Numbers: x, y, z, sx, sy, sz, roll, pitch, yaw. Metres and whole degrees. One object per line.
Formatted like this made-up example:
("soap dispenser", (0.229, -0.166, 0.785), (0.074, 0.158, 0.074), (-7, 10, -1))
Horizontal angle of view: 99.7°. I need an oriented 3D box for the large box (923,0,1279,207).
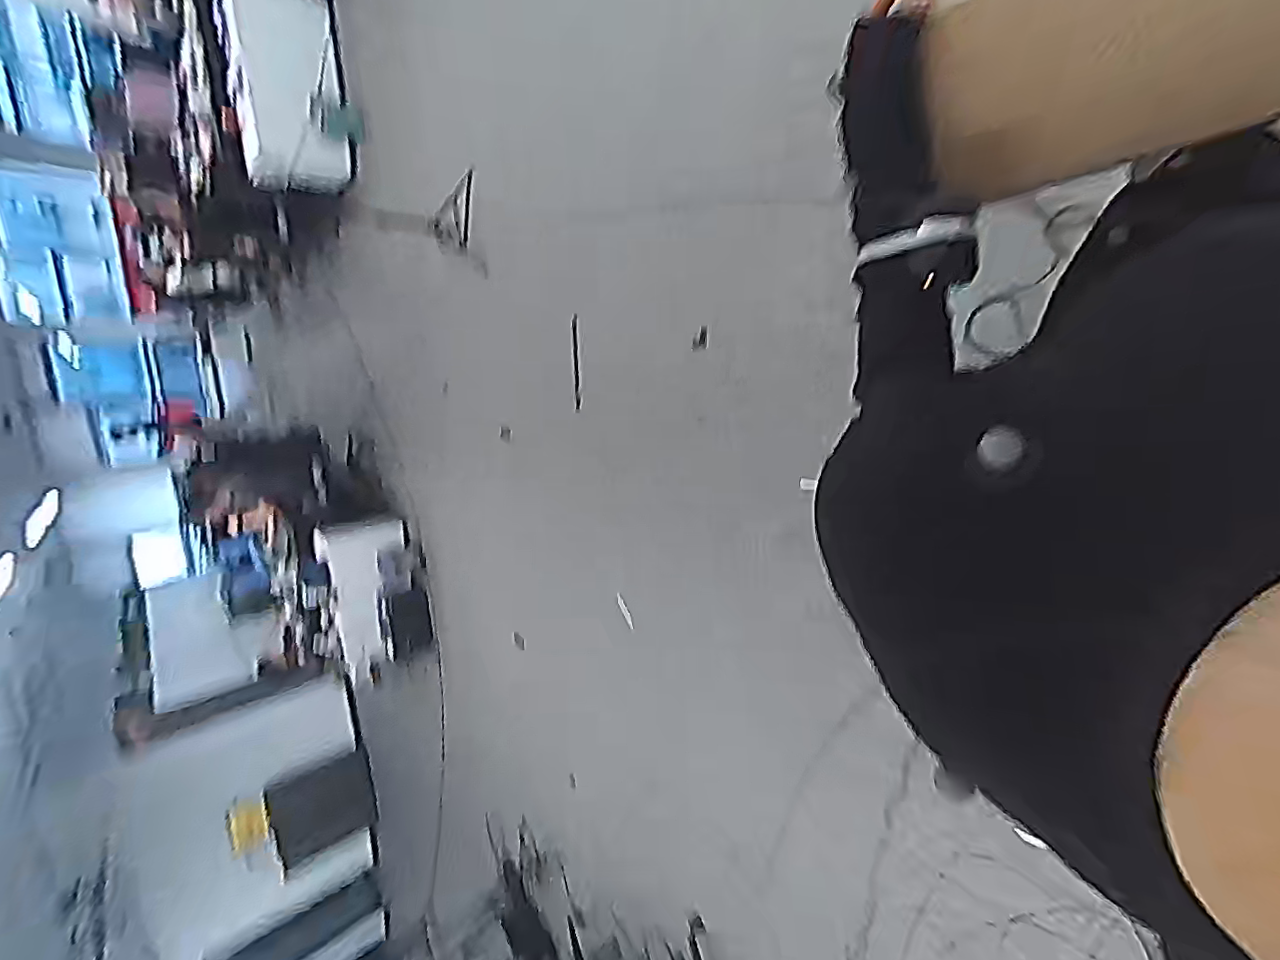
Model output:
("large box", (0.461, -0.441, 0.399), (0.408, 0.320, 0.320), (0, 117, 42))
